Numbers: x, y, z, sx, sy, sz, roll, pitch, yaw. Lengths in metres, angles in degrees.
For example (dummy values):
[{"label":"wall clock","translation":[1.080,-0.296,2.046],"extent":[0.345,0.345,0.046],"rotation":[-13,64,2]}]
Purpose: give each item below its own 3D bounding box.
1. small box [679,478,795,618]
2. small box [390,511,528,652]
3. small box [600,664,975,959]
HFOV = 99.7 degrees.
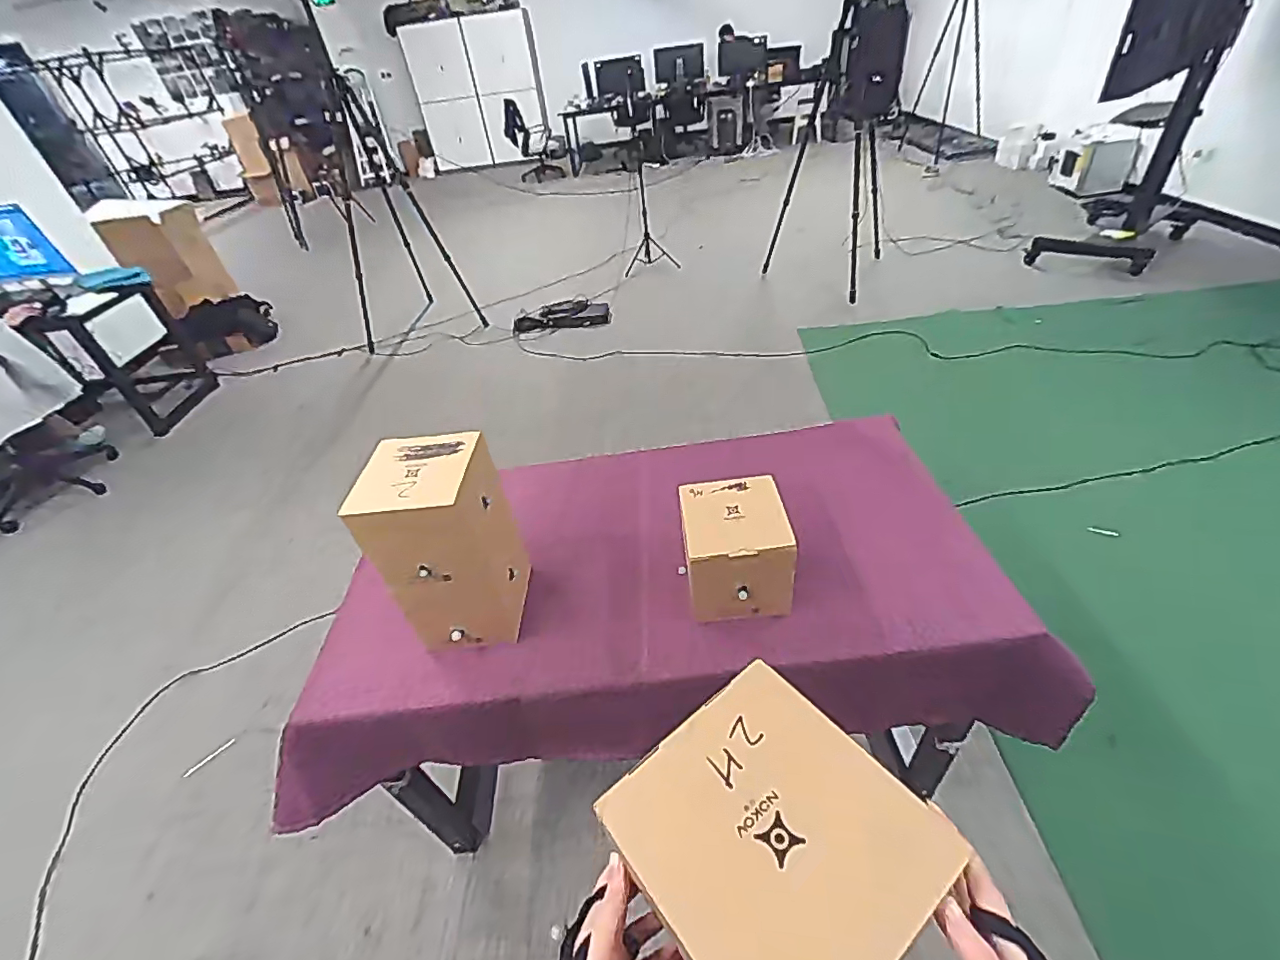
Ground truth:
[{"label":"small box","translation":[0.161,0.122,0.929],"extent":[0.168,0.176,0.179],"rotation":[-6,40,2]},{"label":"small box","translation":[-0.301,0.177,0.948],"extent":[0.168,0.176,0.179],"rotation":[-6,41,4]},{"label":"small box","translation":[0.097,0.282,0.398],"extent":[0.168,0.176,0.179],"rotation":[-31,45,-23]}]
